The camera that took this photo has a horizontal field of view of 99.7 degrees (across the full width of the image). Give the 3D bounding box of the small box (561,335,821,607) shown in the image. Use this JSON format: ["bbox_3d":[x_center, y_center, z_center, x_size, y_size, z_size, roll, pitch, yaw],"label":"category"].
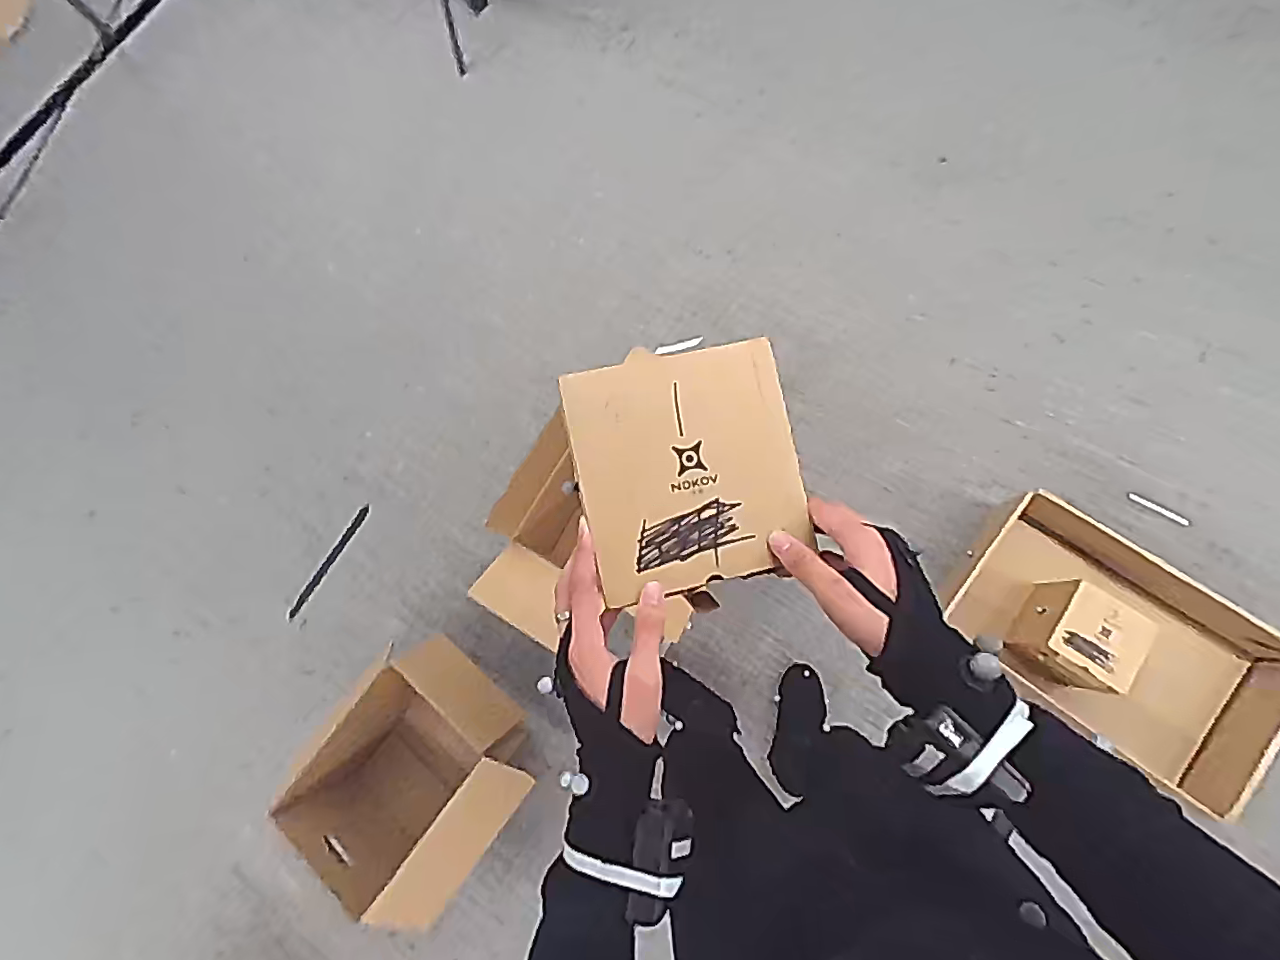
[{"bbox_3d":[0.032,-0.006,0.474,0.168,0.176,0.179,-12,88,-7],"label":"small box"}]
